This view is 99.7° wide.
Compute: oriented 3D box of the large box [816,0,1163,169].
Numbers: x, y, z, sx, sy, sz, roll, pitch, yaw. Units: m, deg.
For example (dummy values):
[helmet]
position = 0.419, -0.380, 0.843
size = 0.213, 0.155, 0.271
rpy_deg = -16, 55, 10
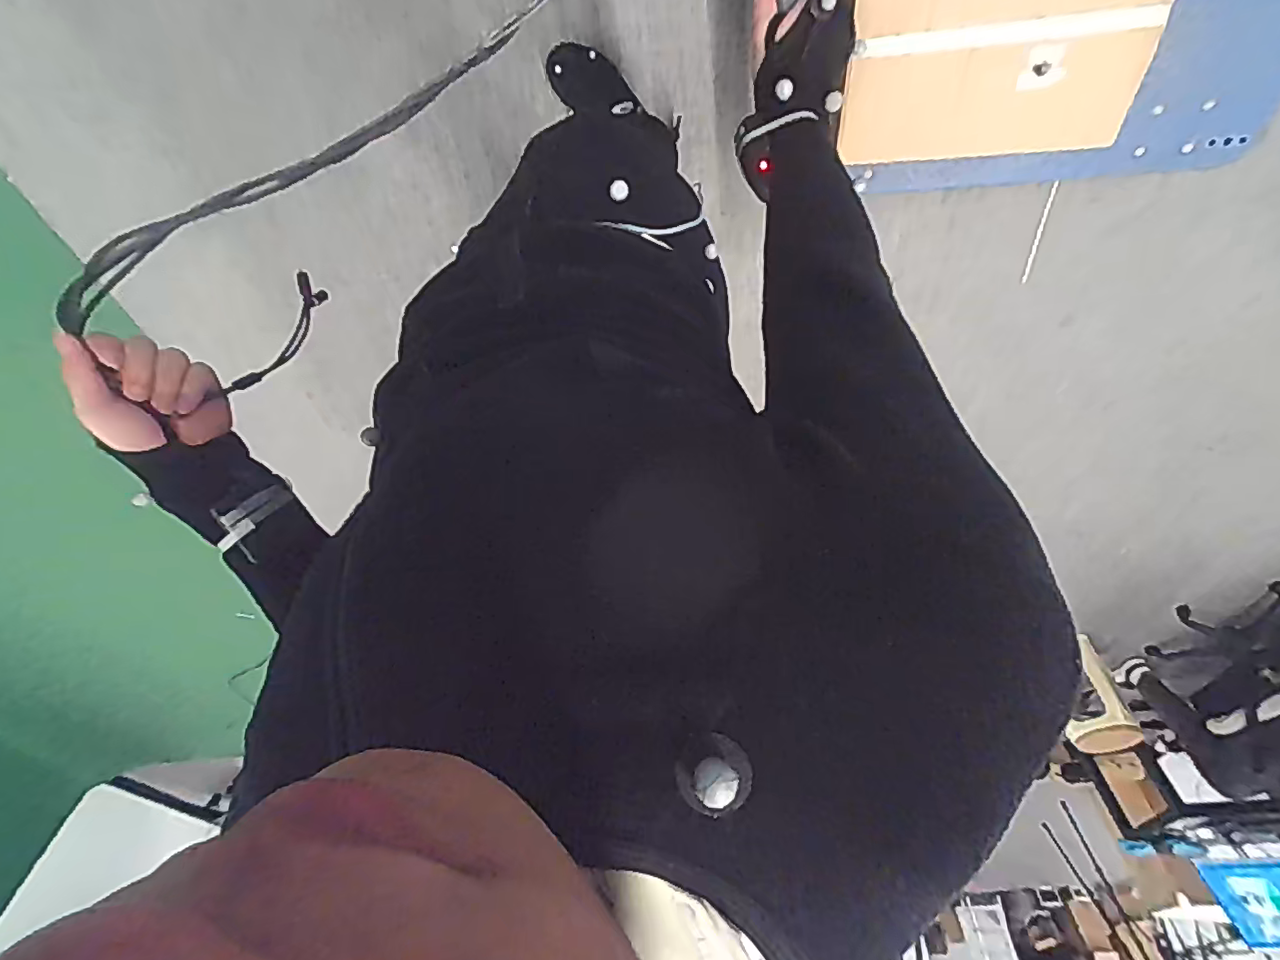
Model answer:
[large box]
position = 0.516, -0.727, 0.866
size = 0.408, 0.320, 0.320
rpy_deg = 2, 135, 10
